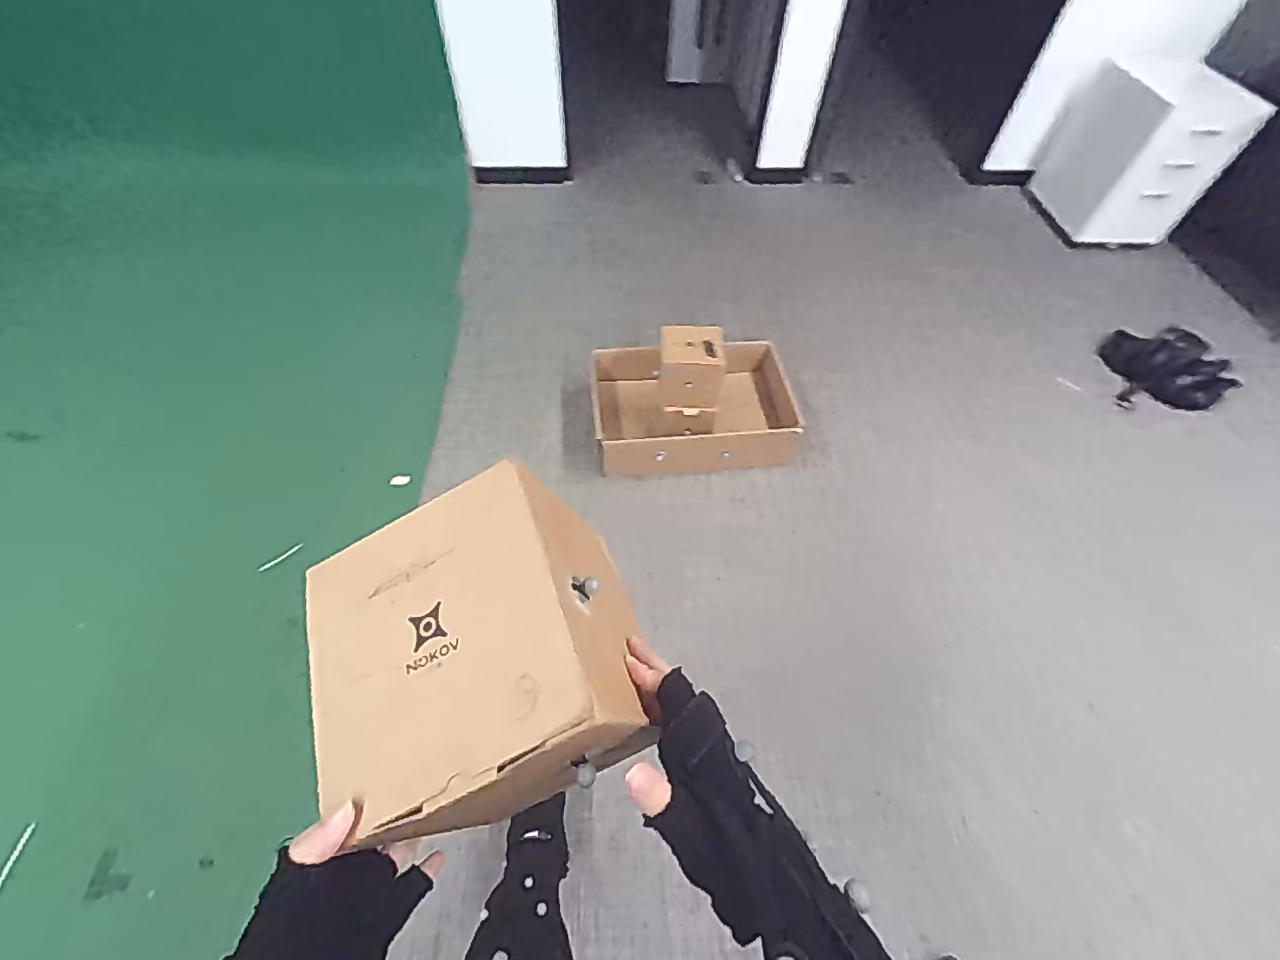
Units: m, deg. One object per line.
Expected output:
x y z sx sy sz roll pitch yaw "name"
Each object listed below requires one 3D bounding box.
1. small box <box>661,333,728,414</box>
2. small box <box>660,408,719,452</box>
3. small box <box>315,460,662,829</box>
0.154 -0.308 1.582 0.179 0.176 0.168 2 53 0 "small box"
0.151 -0.203 1.709 0.168 0.176 0.179 2 53 -2 "small box"
-0.101 0.123 0.395 0.168 0.176 0.179 -26 56 5 "small box"
